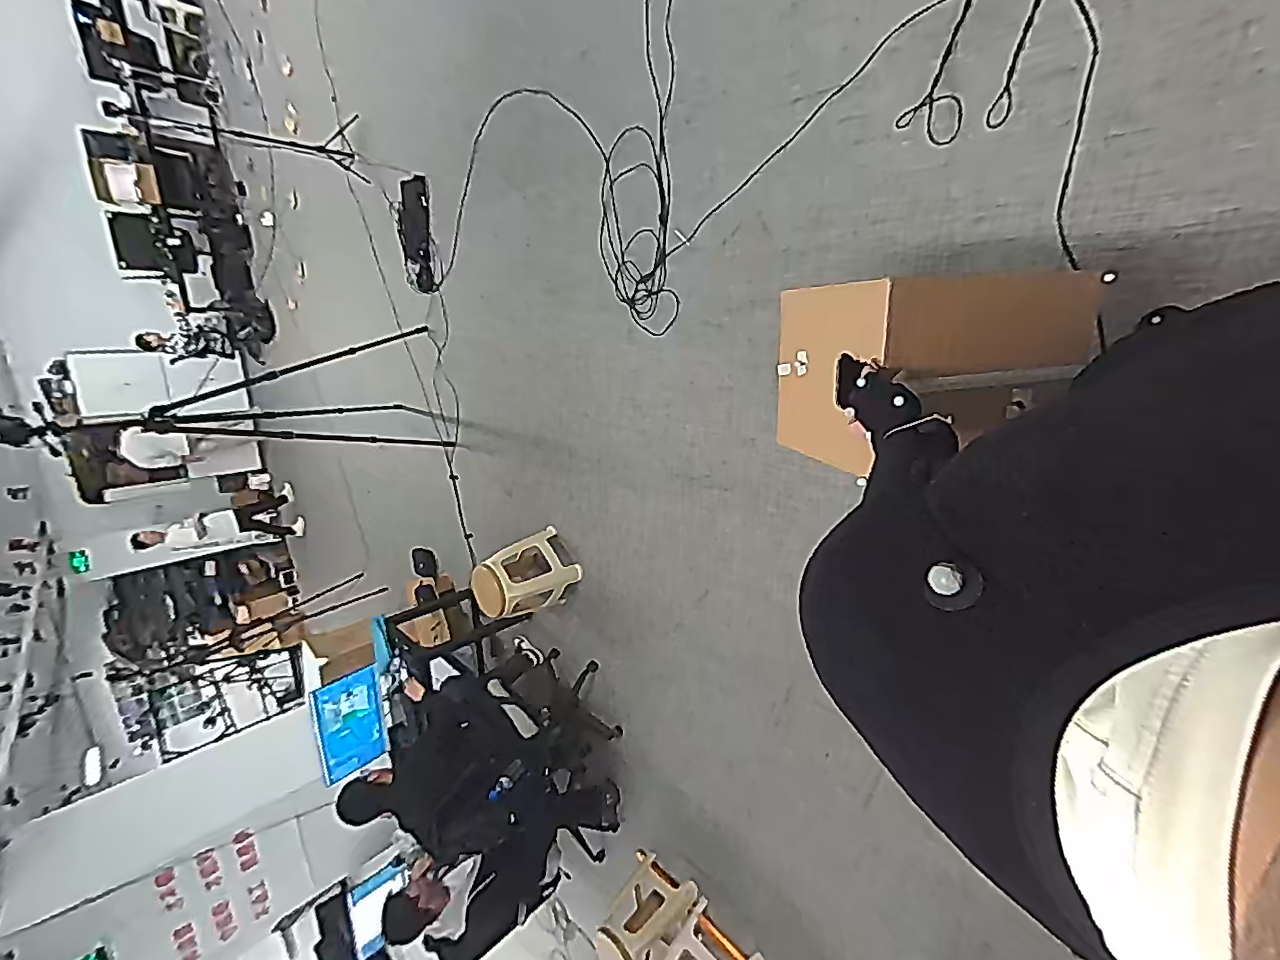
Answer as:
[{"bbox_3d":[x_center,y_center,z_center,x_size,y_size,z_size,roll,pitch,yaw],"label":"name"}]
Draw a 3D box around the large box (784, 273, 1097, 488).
[{"bbox_3d":[0.520,-0.196,1.005,0.320,0.408,0.320,-137,41,-68],"label":"large box"}]
